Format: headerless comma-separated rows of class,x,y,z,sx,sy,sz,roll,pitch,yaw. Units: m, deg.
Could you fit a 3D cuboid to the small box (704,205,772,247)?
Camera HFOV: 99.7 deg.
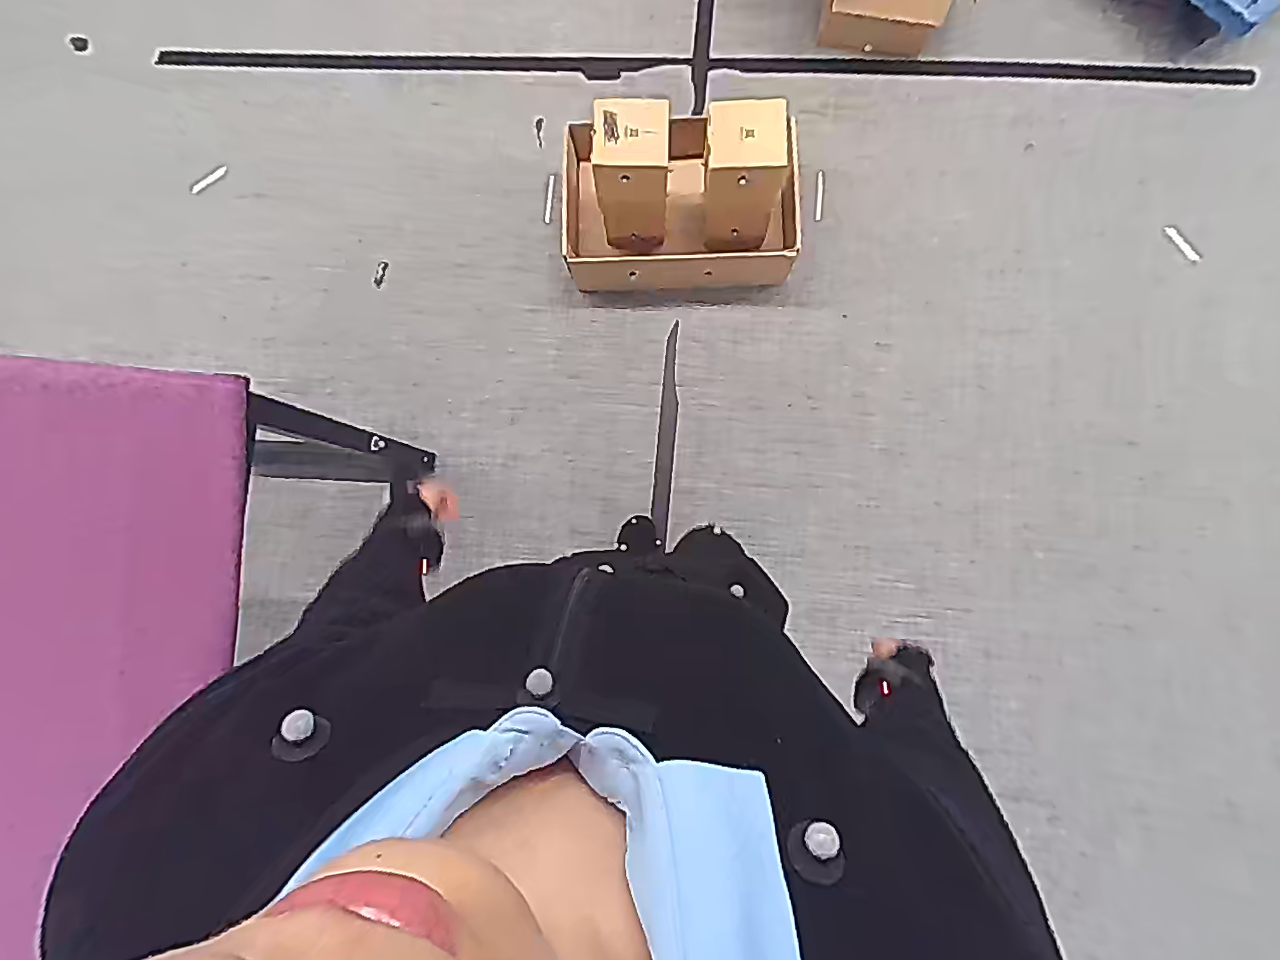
small box,0.262,-0.750,1.462,0.168,0.176,0.179,1,83,3

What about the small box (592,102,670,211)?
small box,-0.018,-0.778,1.313,0.179,0.176,0.168,2,84,1

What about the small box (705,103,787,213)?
small box,0.249,-0.766,1.301,0.179,0.176,0.168,0,84,4
